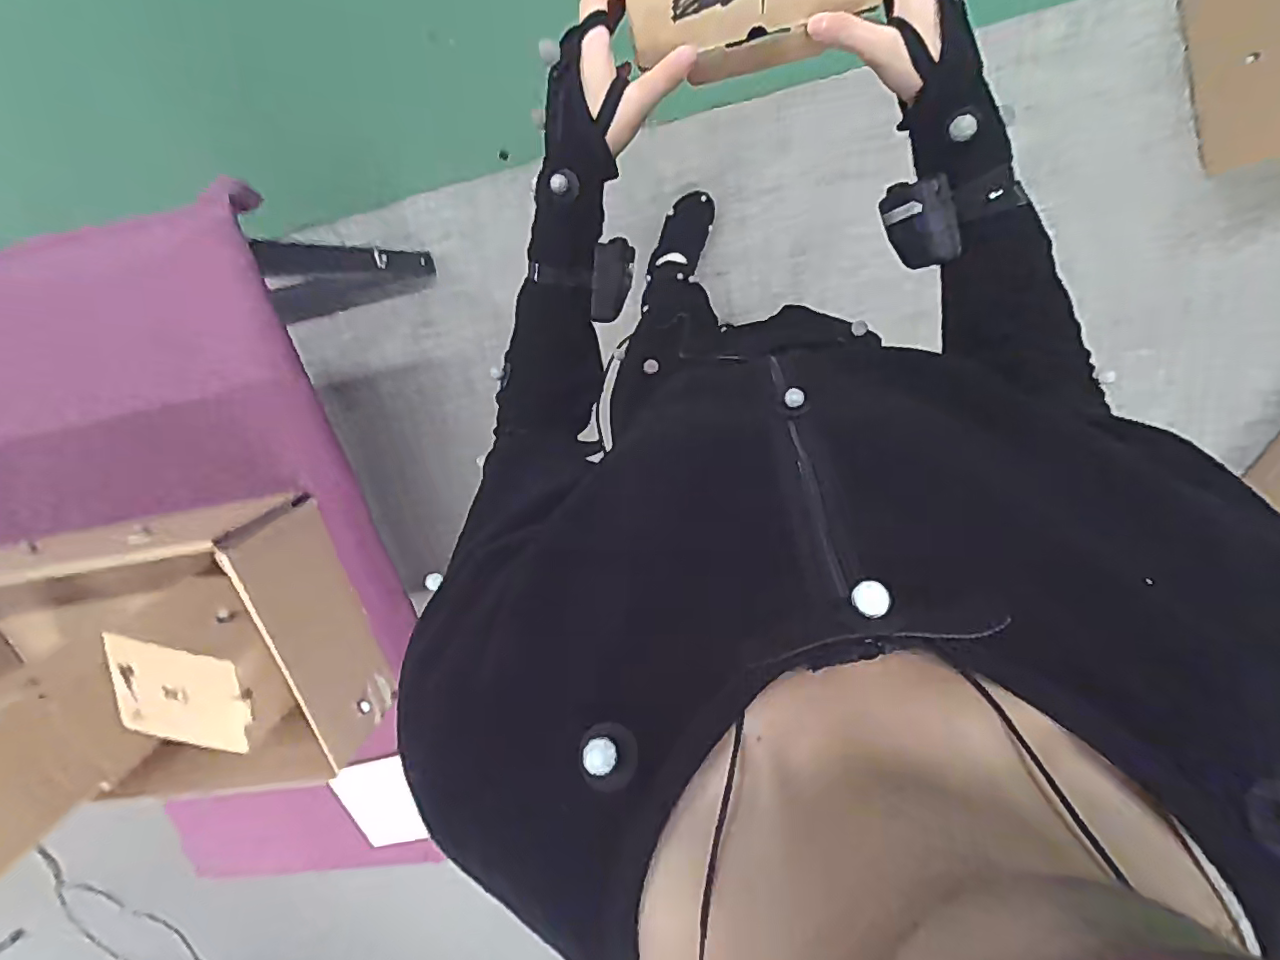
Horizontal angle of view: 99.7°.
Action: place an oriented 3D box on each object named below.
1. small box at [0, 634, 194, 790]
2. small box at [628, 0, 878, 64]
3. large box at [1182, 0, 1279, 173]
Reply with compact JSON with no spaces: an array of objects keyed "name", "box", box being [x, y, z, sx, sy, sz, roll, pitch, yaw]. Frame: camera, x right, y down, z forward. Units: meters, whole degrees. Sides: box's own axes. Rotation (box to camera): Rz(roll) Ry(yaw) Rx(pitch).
[{"name":"small box","box":[-0.854,0.360,0.843,0.179,0.176,0.168,-10,109,6]},{"name":"small box","box":[0.064,-0.417,0.364,0.168,0.176,0.179,-8,133,8]},{"name":"large box","box":[1.300,-0.852,0.970,0.320,0.320,0.408,-25,105,12]}]
